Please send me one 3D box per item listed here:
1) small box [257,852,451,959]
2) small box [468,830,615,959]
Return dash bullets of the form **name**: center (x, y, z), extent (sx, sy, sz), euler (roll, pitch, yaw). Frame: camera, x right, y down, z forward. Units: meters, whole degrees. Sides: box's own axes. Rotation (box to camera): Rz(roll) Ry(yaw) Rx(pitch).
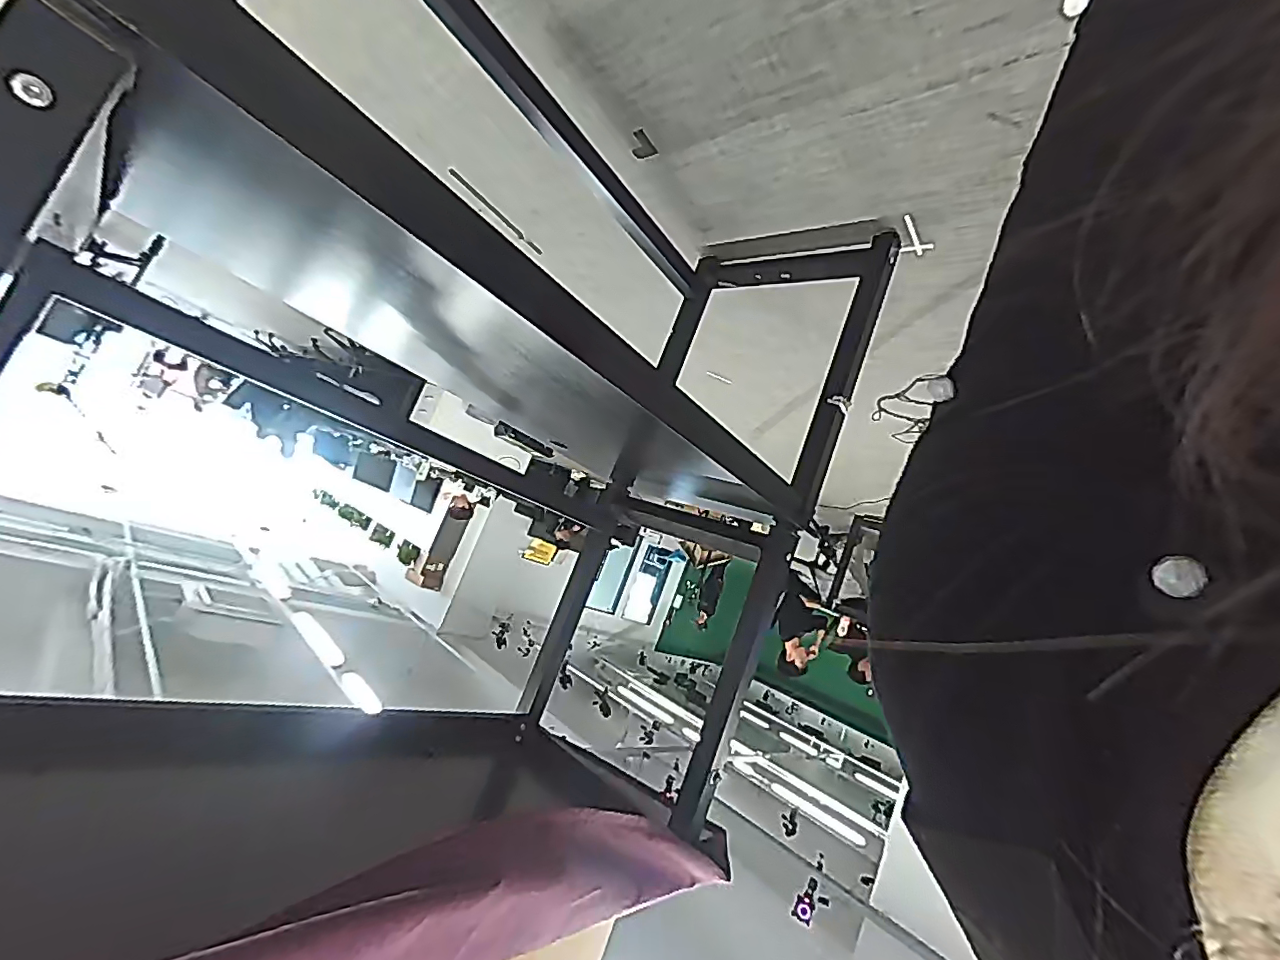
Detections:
- **small box**: center (-0.382, 0.636, 0.720), extent (0.179, 0.176, 0.168), euler (13, 169, 46)
- **small box**: center (-0.173, 0.759, 0.967), extent (0.168, 0.176, 0.179), euler (28, 170, -39)
